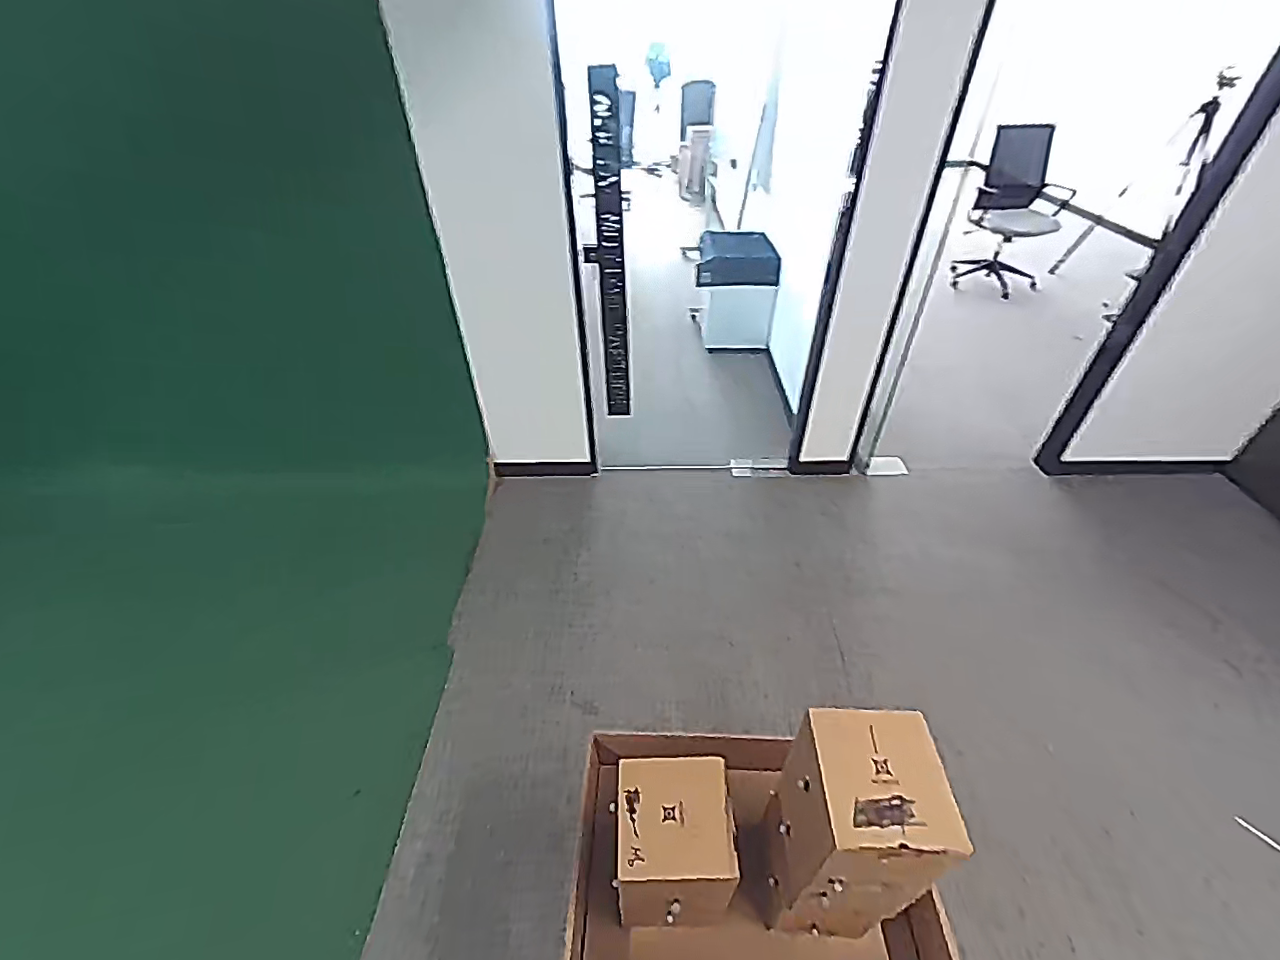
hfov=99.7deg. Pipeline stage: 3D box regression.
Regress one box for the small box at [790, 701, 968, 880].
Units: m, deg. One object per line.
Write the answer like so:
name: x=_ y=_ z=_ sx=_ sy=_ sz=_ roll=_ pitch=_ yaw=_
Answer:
small box: x=0.317 y=0.438 z=0.761 sx=0.168 sy=0.176 sz=0.179 roll=2 pitch=40 yaw=2

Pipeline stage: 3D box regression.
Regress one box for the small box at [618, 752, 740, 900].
small box: x=0.055 y=0.559 z=0.875 sx=0.179 sy=0.176 sz=0.168 roll=0 pitch=41 yaw=0

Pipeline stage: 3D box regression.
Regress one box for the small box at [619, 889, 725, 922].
small box: x=0.055 y=0.682 z=0.983 sx=0.179 sy=0.176 sz=0.168 roll=2 pitch=41 yaw=1
